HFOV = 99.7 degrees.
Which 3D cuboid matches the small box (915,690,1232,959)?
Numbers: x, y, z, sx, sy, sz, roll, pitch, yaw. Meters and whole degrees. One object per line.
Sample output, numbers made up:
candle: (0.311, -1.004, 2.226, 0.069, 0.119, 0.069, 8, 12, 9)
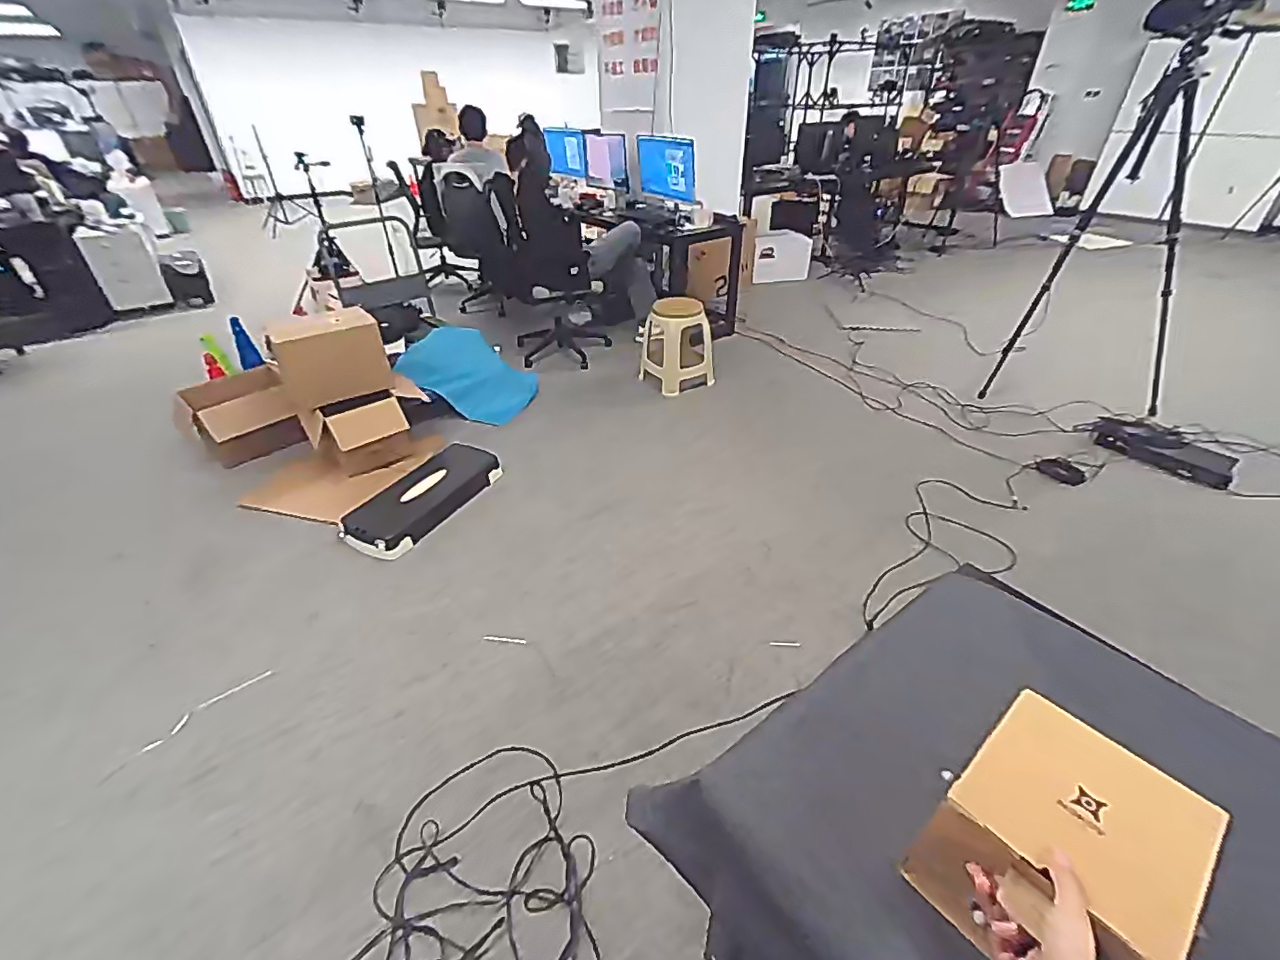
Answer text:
small box: (0.398, 0.352, 0.521, 0.179, 0.176, 0.168, -27, 43, -31)
